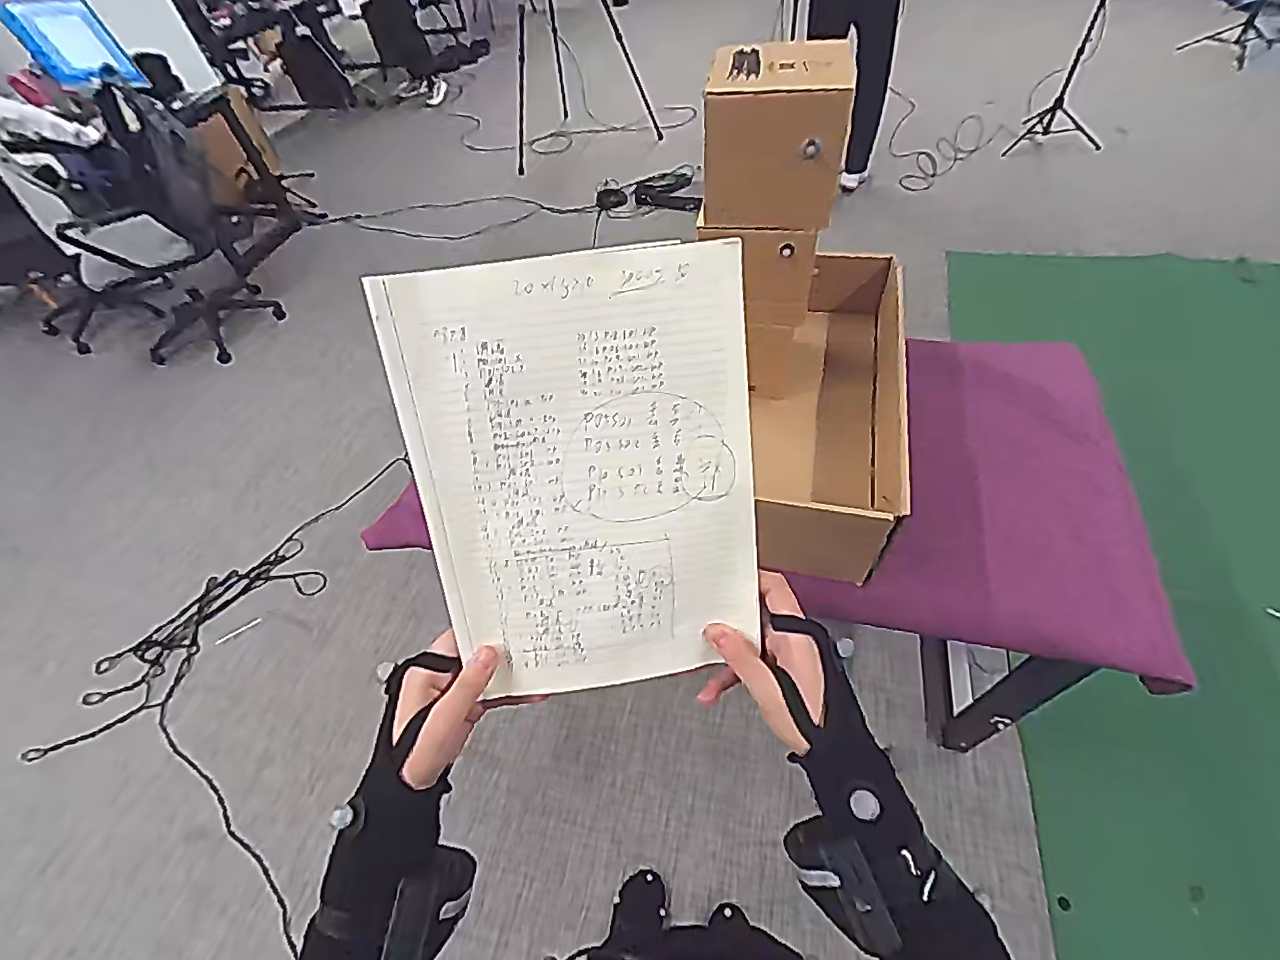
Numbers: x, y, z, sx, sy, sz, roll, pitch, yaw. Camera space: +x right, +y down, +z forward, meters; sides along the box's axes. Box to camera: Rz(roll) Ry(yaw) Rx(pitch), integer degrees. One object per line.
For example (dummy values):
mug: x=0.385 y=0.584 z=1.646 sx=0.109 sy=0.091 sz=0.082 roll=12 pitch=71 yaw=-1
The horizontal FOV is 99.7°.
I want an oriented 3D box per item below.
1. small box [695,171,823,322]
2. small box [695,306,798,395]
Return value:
small box: x=0.190 y=-0.373 z=0.873 sx=0.179 sy=0.176 sz=0.168 roll=7 pitch=55 yaw=13
small box: x=0.204 y=-0.280 z=1.004 sx=0.168 sy=0.176 sz=0.179 roll=9 pitch=56 yaw=14
